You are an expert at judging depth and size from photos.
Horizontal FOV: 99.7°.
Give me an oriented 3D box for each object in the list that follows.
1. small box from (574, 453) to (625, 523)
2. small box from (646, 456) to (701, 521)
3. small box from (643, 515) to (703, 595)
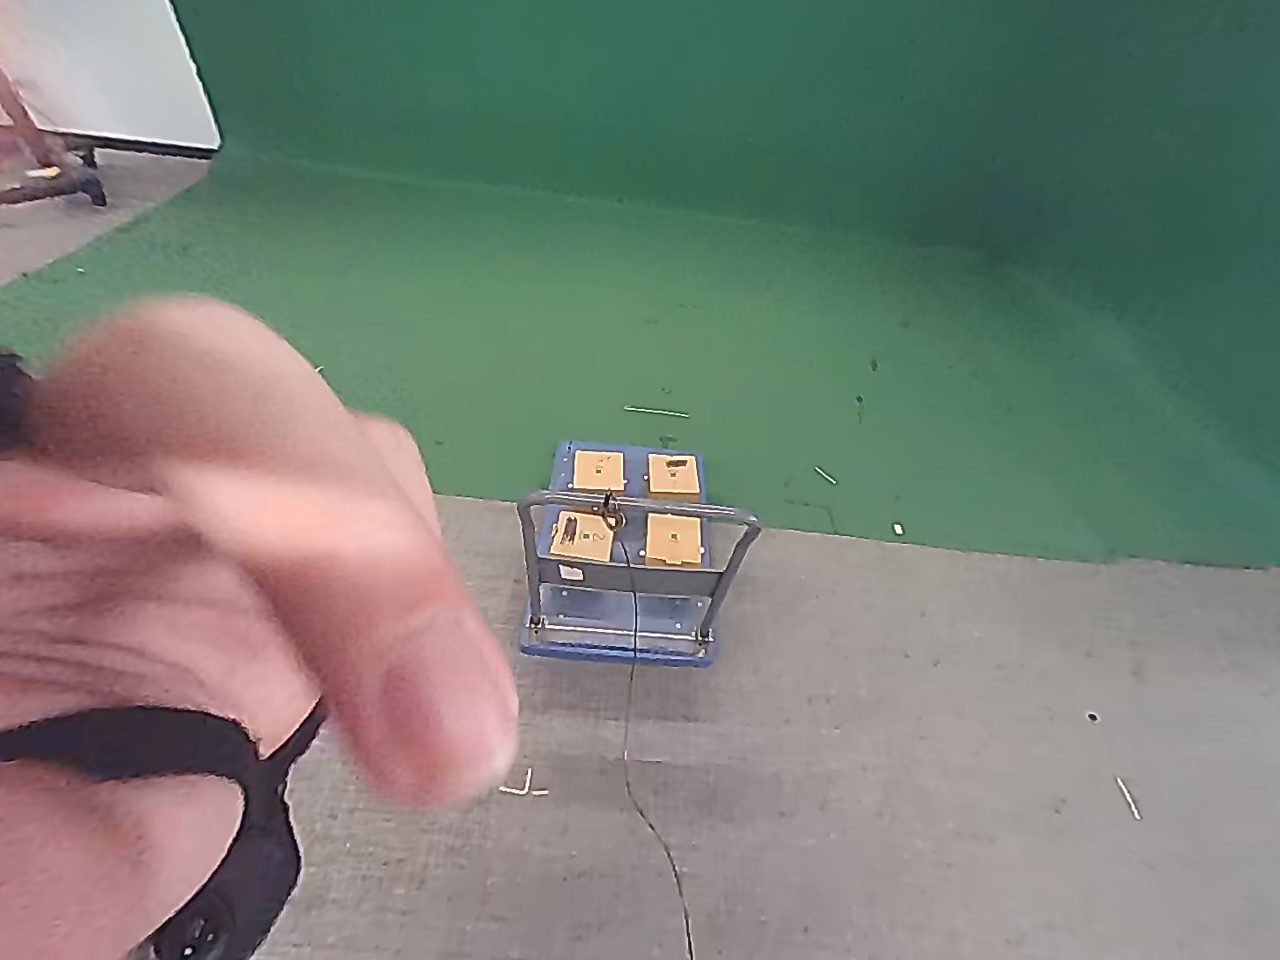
[{"bbox_3d":[-0.140,0.030,1.851,0.168,0.176,0.179,3,47,-5],"label":"small box"},{"bbox_3d":[0.111,0.039,1.873,0.168,0.176,0.179,2,48,-4],"label":"small box"},{"bbox_3d":[0.100,0.236,1.688,0.168,0.176,0.179,6,47,-2],"label":"small box"}]
